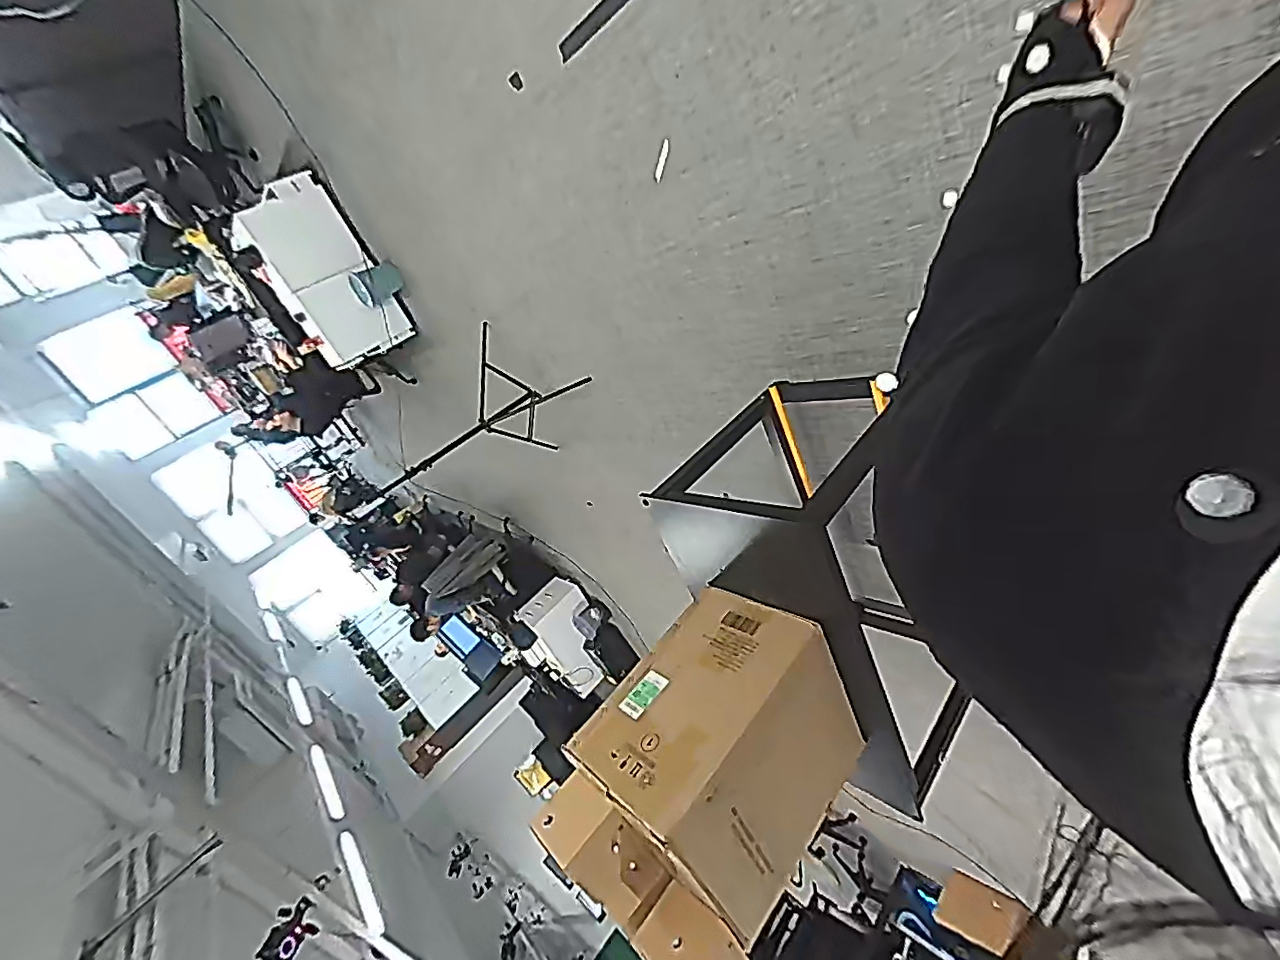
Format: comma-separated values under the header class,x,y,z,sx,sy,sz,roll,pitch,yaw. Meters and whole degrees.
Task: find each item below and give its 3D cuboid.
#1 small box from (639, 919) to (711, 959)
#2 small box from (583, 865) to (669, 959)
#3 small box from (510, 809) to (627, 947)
class,x,y,z,sx,sy,sz,roll,pitch,yaw
small box,0.090,1.148,1.208,0.179,0.176,0.168,-1,123,51
small box,-0.036,1.137,1.370,0.168,0.176,0.179,10,133,50
small box,-0.163,0.907,1.255,0.179,0.176,0.168,8,135,53
